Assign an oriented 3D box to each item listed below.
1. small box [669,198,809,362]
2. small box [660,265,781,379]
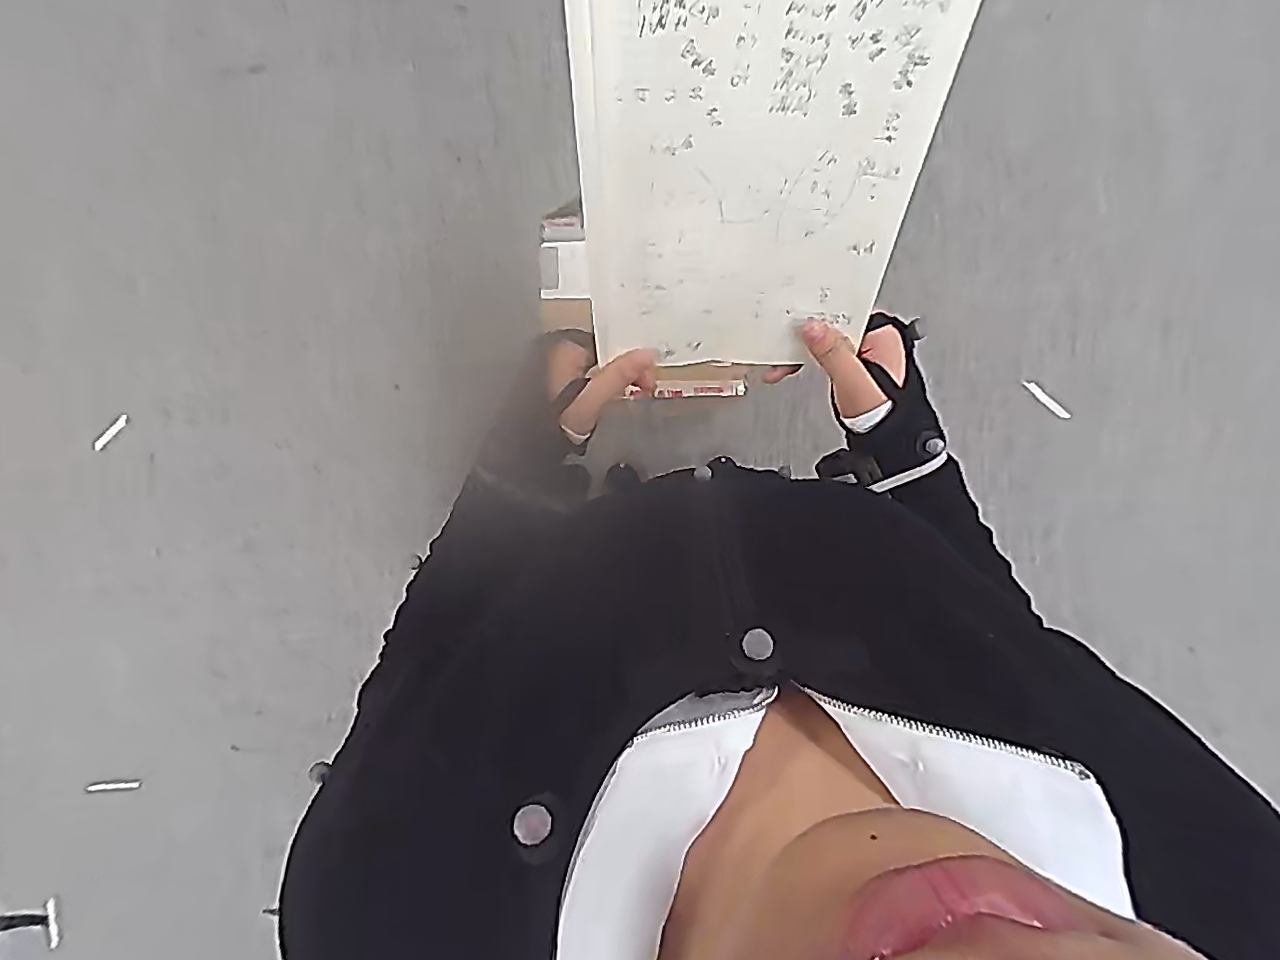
[{"bbox_3d":[0.133,-0.277,0.781,0.168,0.176,0.179,-4,92,-1],"label":"small box"},{"bbox_3d":[0.133,-0.276,0.945,0.179,0.176,0.168,-6,92,0],"label":"small box"}]
